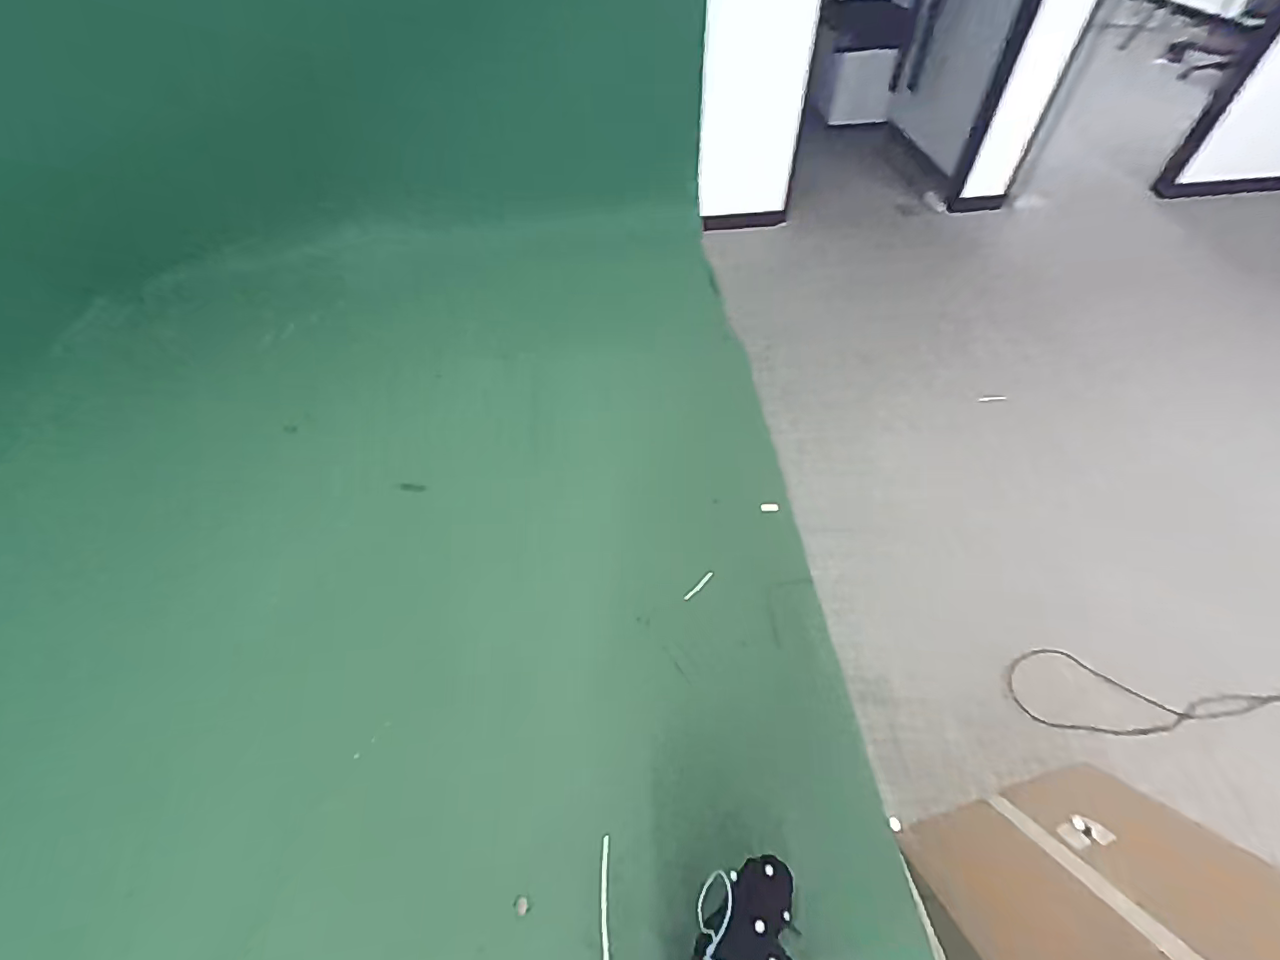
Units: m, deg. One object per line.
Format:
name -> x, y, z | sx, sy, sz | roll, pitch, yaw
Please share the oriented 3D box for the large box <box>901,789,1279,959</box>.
large box -> 0.567, 0.623, 0.587 | 0.320, 0.408, 0.320 | -20, 82, 3
